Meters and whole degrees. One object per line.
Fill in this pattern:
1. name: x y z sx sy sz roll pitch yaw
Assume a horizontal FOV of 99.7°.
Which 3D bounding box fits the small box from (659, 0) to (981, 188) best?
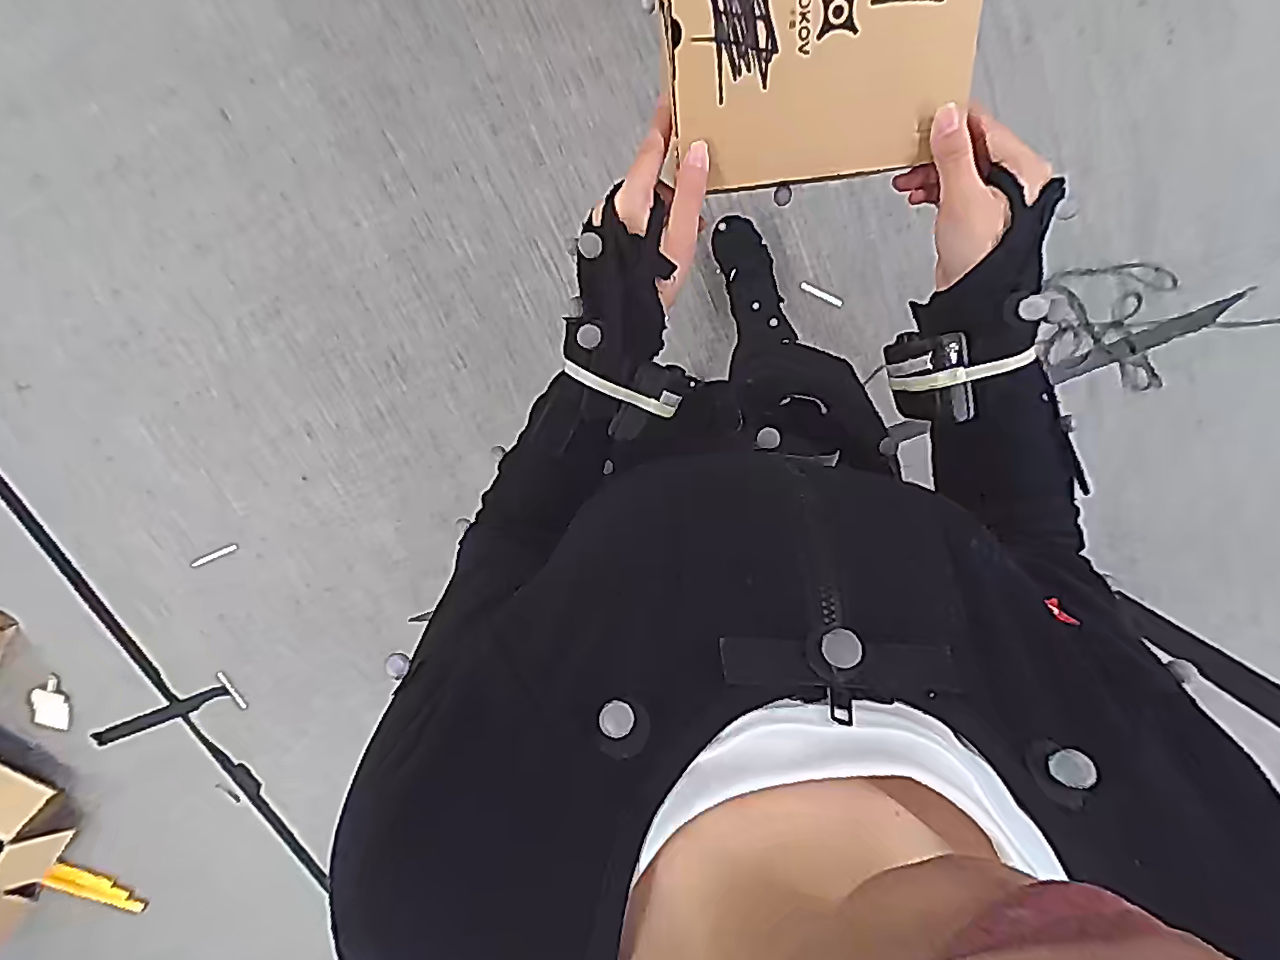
1. small box: 0.103 -0.303 0.370 0.179 0.176 0.168 -5 116 4
